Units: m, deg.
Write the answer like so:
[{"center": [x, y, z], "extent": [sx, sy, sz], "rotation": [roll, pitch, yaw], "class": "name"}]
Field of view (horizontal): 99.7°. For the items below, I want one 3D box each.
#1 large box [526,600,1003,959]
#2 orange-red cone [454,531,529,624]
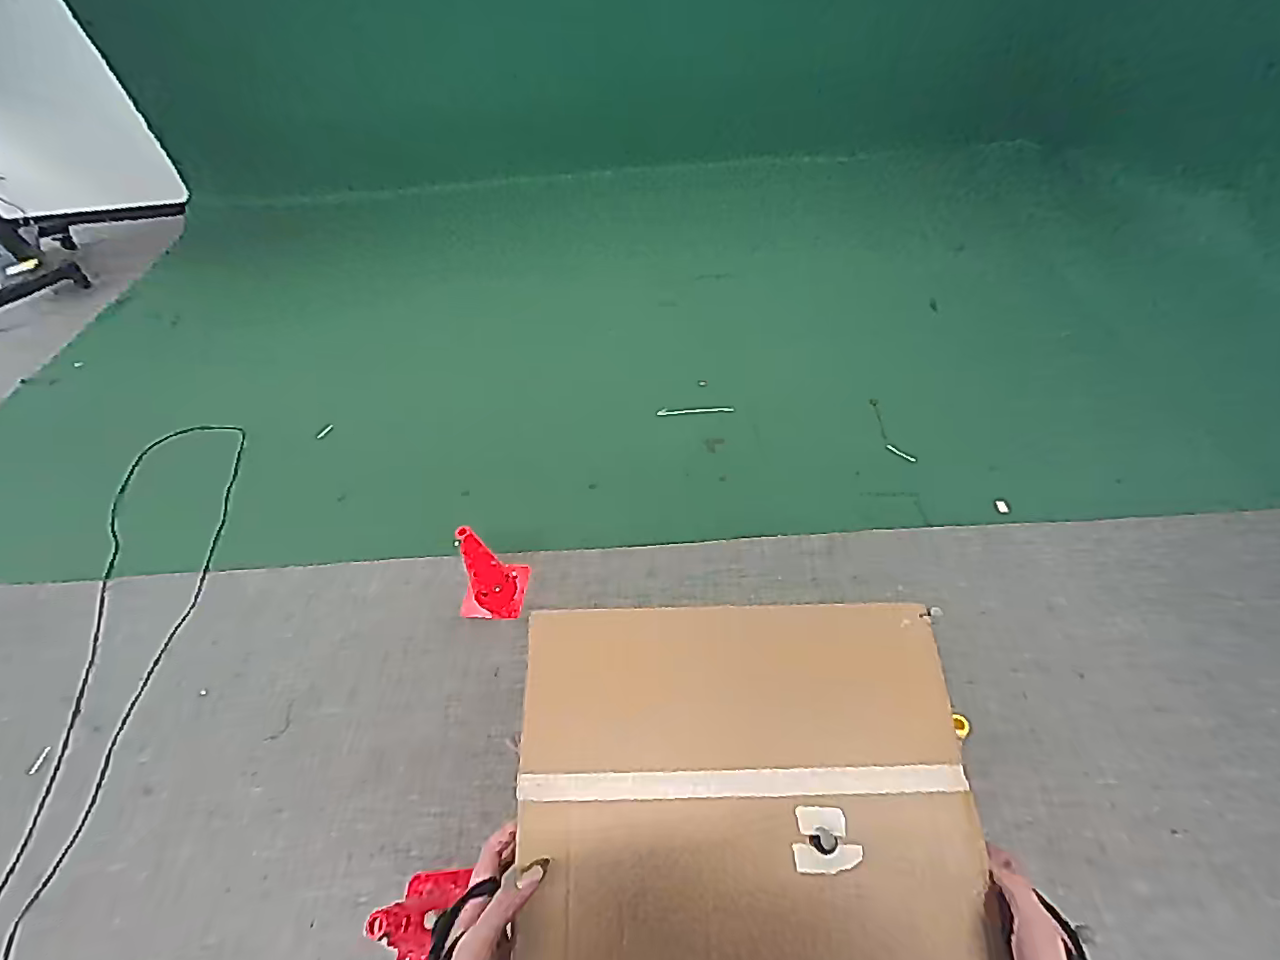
[{"center": [0.096, 0.334, 0.636], "extent": [0.408, 0.320, 0.320], "rotation": [-2, 67, 0], "class": "large box"}, {"center": [-0.499, 0.276, 1.672], "extent": [0.199, 0.360, 0.198], "rotation": [1, 50, 8], "class": "orange-red cone"}]
